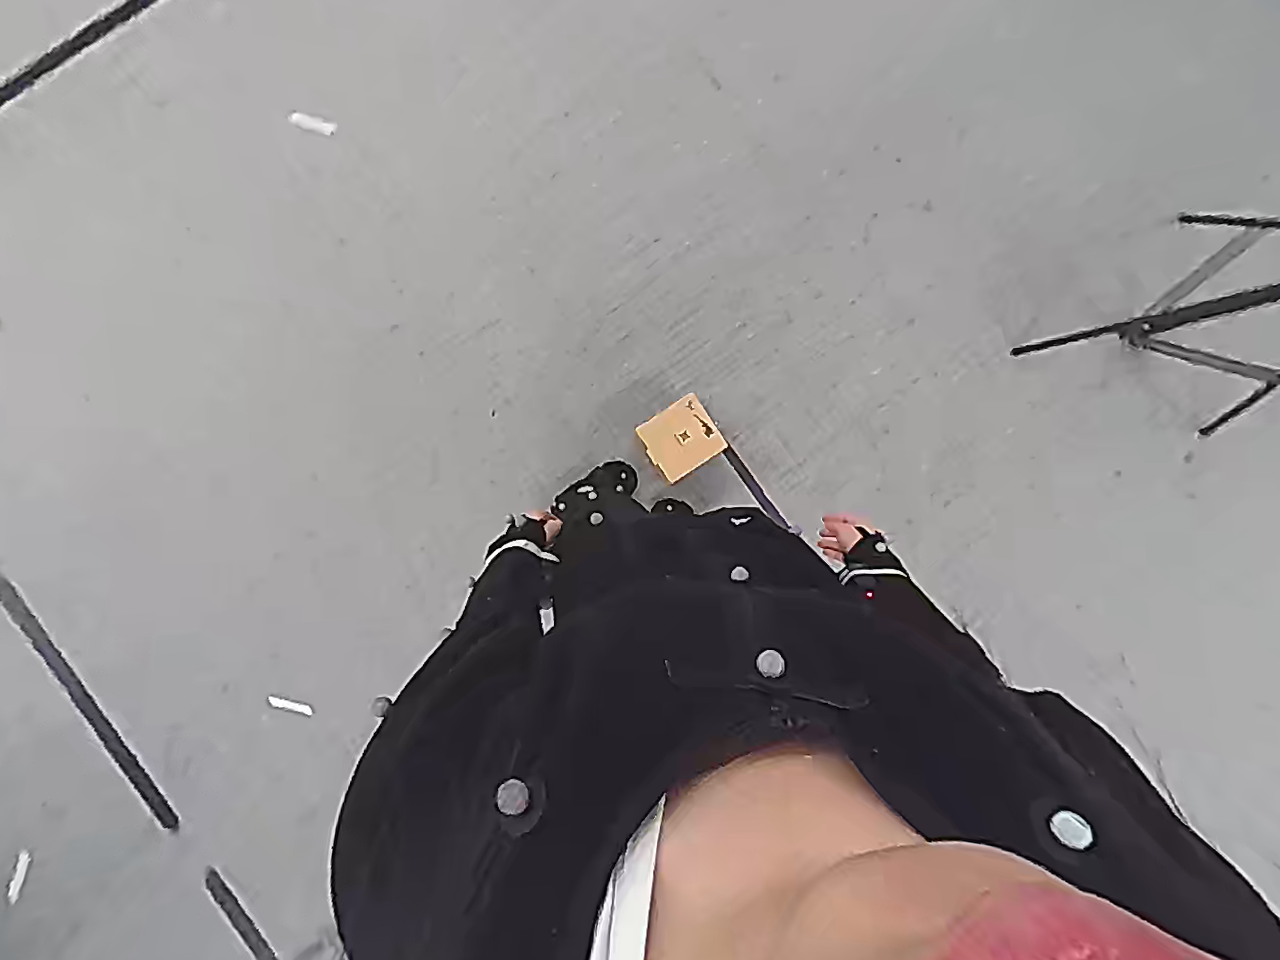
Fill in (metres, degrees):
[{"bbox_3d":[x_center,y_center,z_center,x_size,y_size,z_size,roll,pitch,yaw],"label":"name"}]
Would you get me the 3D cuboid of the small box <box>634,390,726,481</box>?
[{"bbox_3d":[0.101,-0.111,1.415,0.179,0.176,0.168,-33,92,0],"label":"small box"}]
